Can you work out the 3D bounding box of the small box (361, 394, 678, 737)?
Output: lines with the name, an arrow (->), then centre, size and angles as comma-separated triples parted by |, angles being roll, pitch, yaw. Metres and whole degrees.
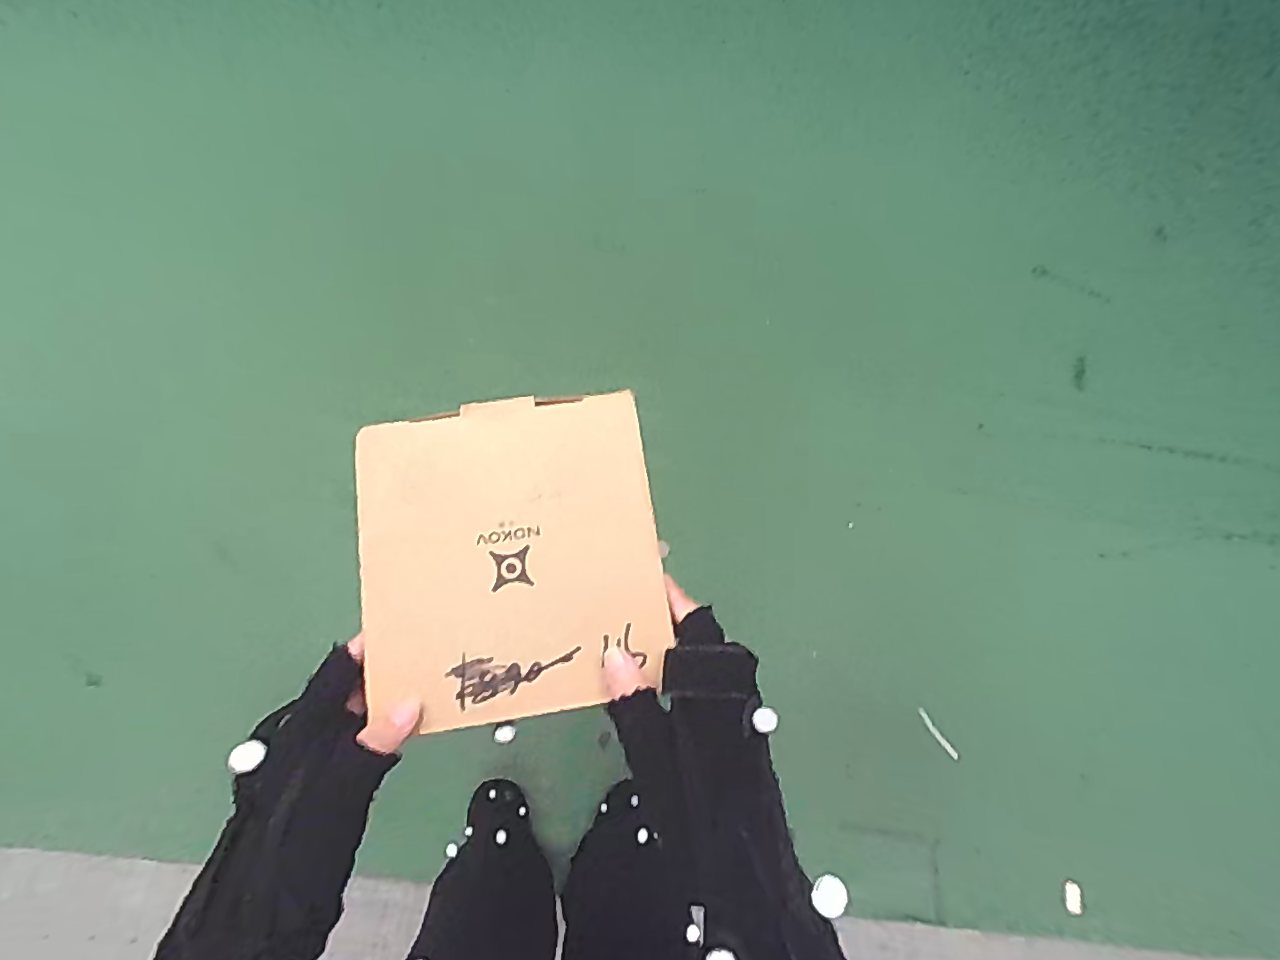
small box -> -0.074, 0.060, 0.379 | 0.168, 0.176, 0.179 | -7, 77, -4
